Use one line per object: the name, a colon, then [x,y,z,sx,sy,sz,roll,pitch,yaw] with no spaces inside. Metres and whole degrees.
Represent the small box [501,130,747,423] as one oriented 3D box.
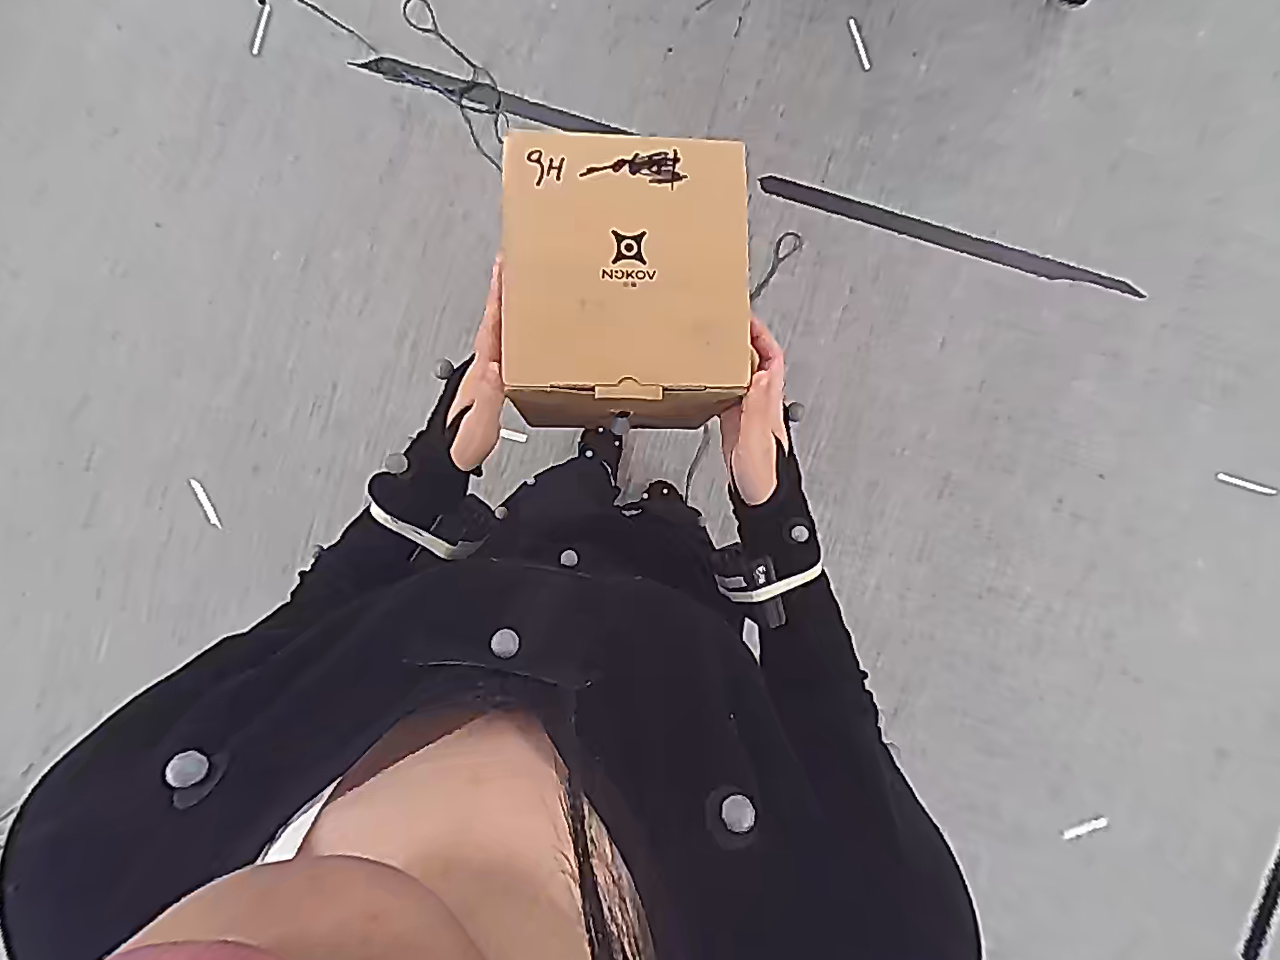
small box: [-0.016,-0.142,0.439,0.168,0.176,0.179,0,88,-5]
